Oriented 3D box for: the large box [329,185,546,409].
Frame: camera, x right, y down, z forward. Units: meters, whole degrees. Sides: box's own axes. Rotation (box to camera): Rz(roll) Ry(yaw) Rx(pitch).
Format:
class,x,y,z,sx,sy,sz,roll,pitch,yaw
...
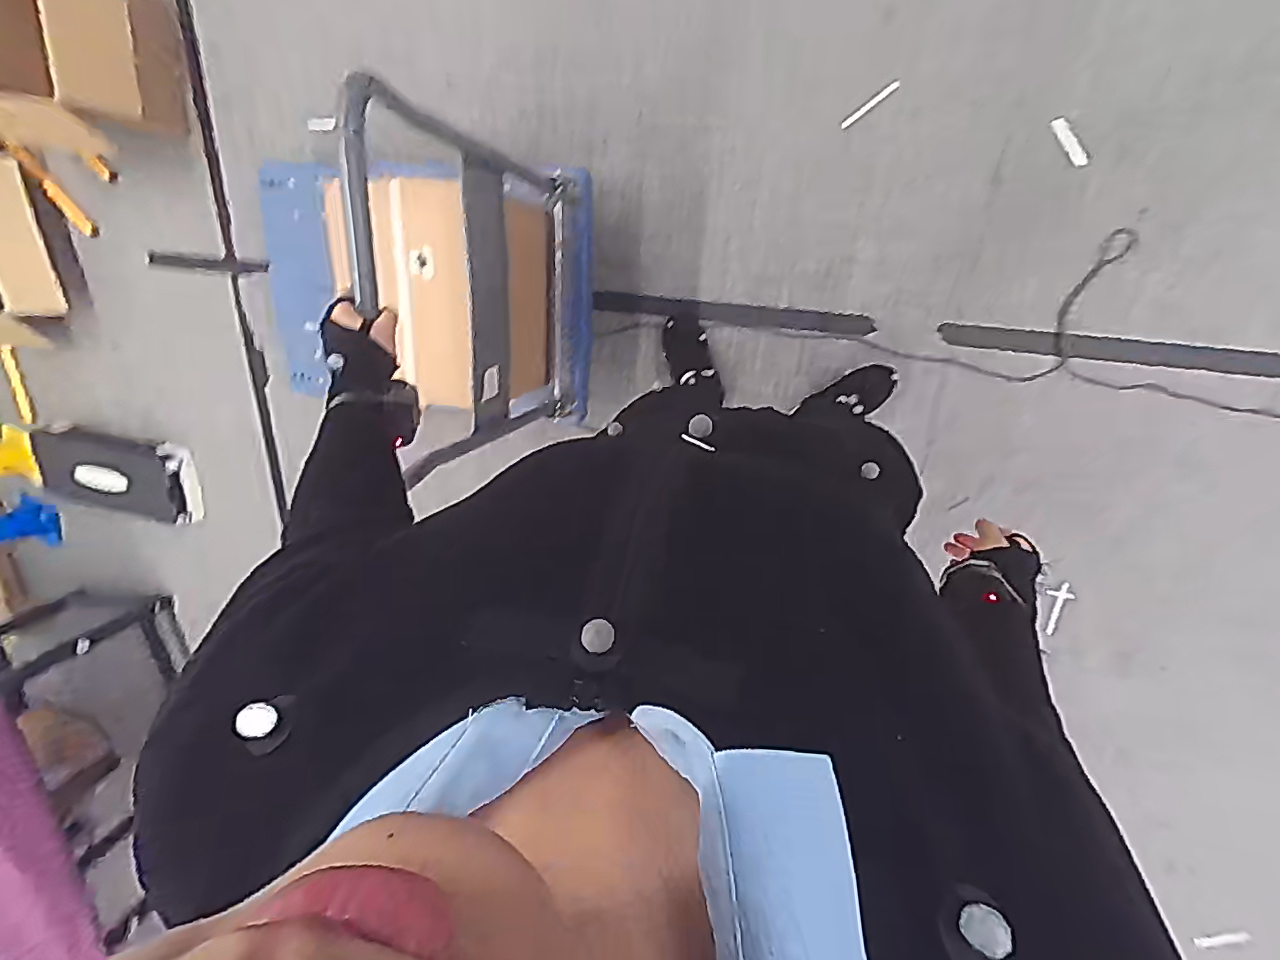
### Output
class,x,y,z,sx,sy,sz,roll,pitch,yaw
large box,-0.408,-0.386,1.176,0.320,0.320,0.408,7,108,11
